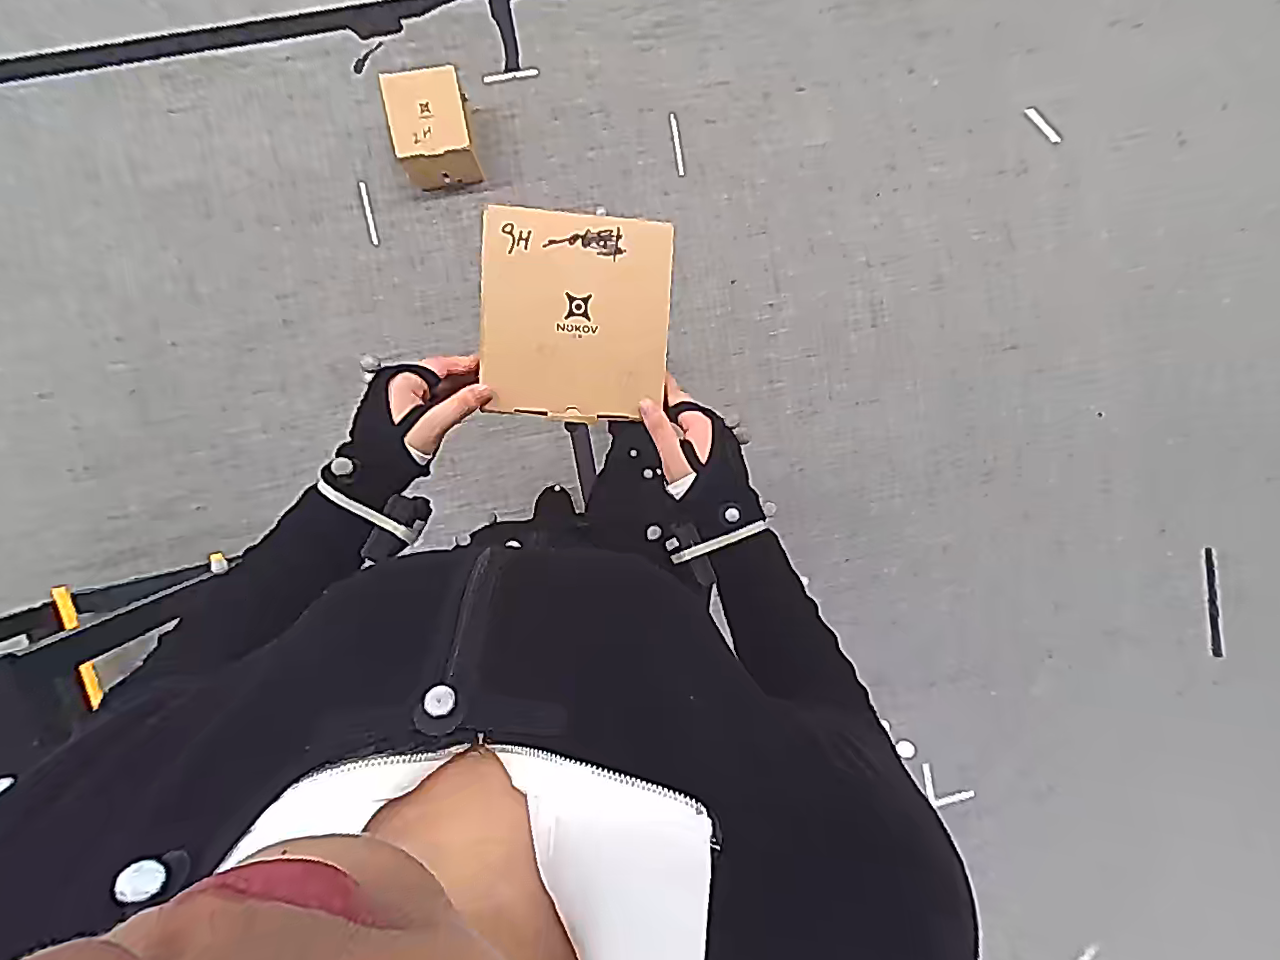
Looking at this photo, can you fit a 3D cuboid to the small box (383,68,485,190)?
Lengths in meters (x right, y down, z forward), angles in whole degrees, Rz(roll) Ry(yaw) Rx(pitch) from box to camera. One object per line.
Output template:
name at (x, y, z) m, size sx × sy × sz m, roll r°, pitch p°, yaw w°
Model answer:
small box at (-0.475, -0.815, 1.269) m, size 0.168 × 0.176 × 0.179 m, roll -10°, pitch 97°, yaw -3°
